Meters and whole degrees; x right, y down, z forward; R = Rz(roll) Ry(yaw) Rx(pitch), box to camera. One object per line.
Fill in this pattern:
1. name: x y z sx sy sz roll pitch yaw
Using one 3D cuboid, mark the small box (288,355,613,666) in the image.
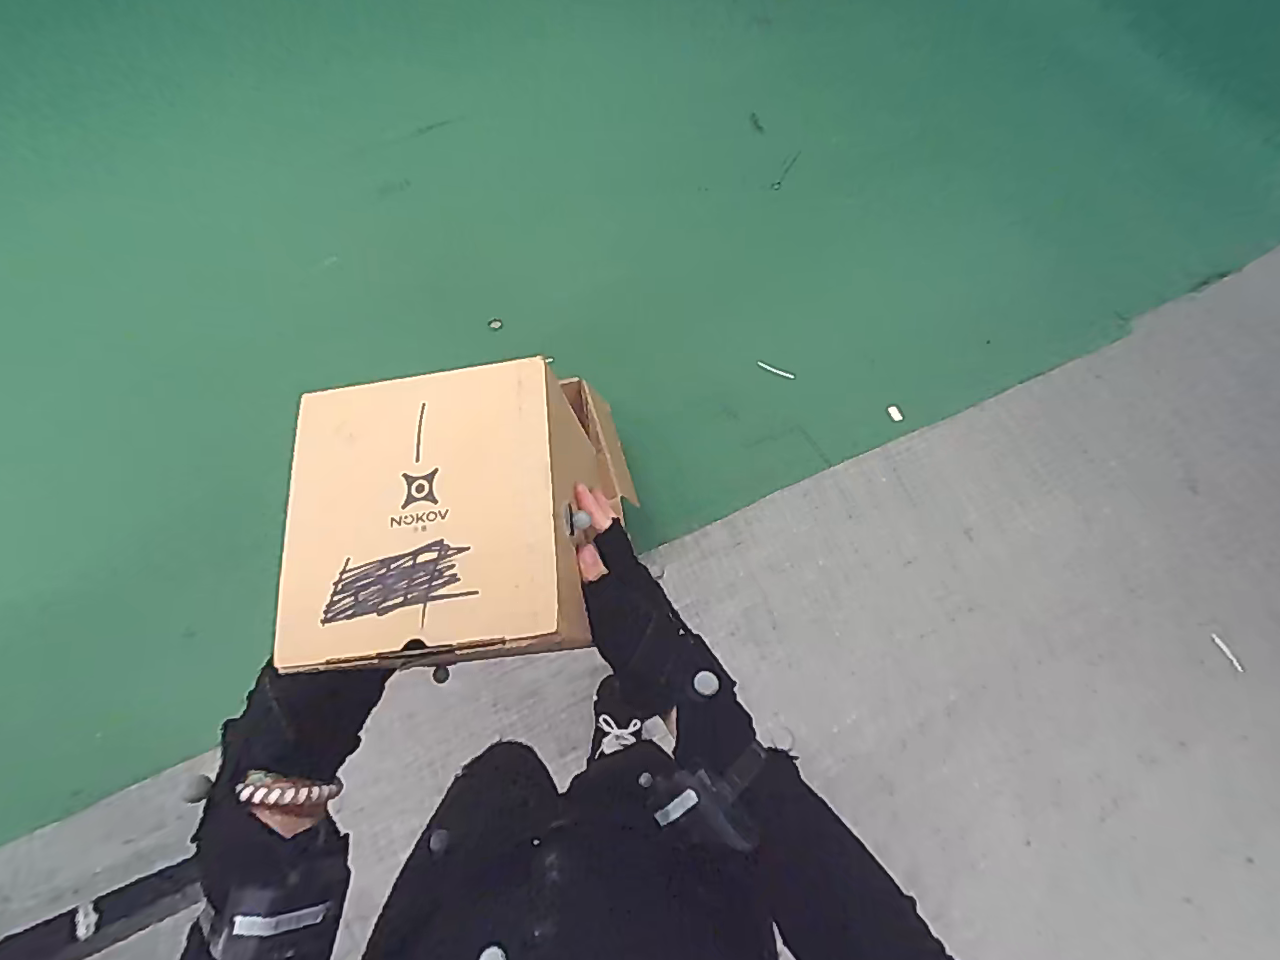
1. small box: -0.117 0.036 0.399 0.168 0.176 0.179 -8 71 4
